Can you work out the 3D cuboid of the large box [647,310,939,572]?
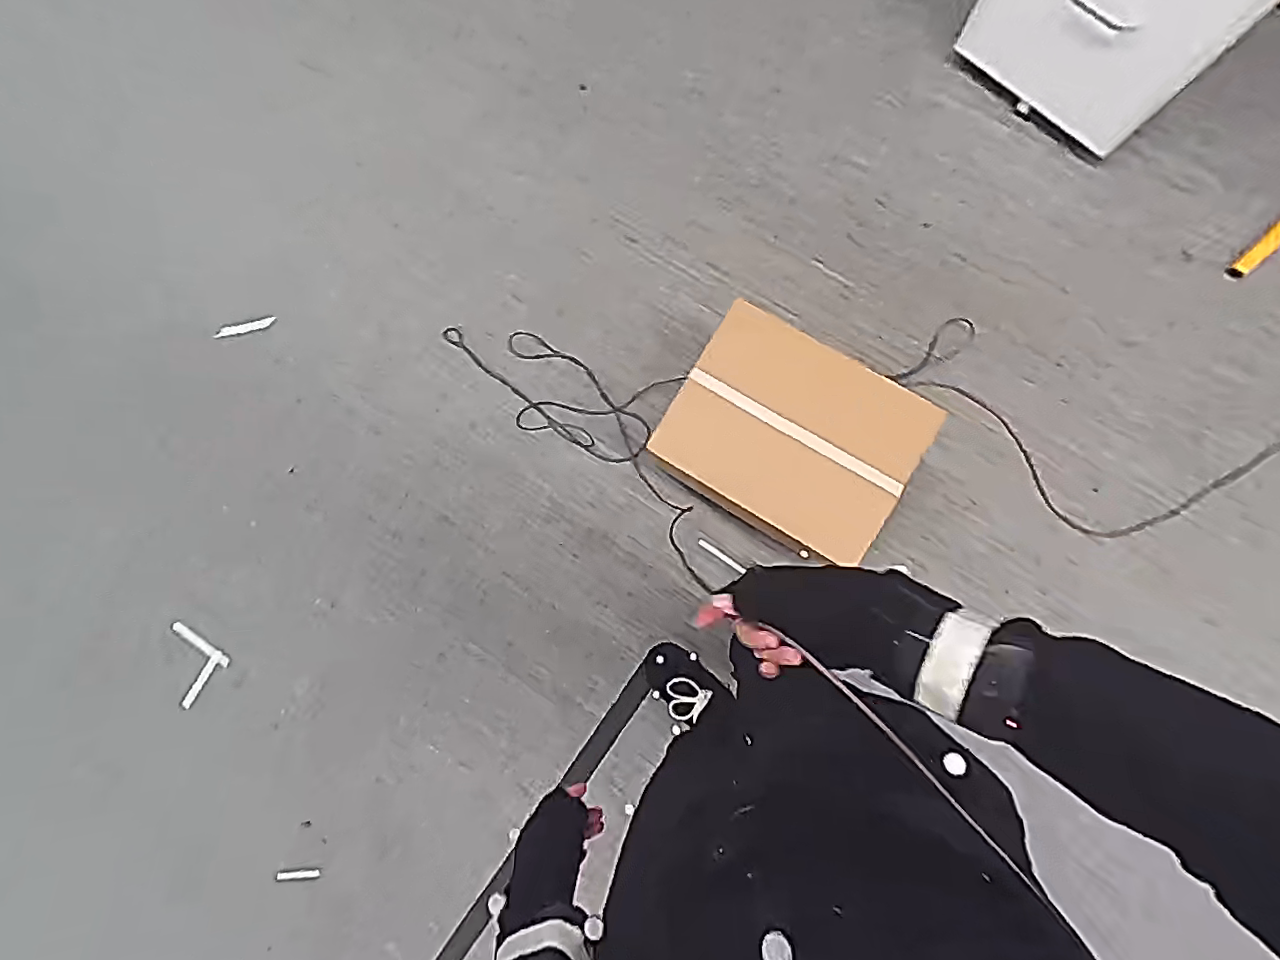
[{"bbox_3d":[0.274,-0.062,1.071,0.408,0.320,0.320,31,89,7],"label":"large box"}]
